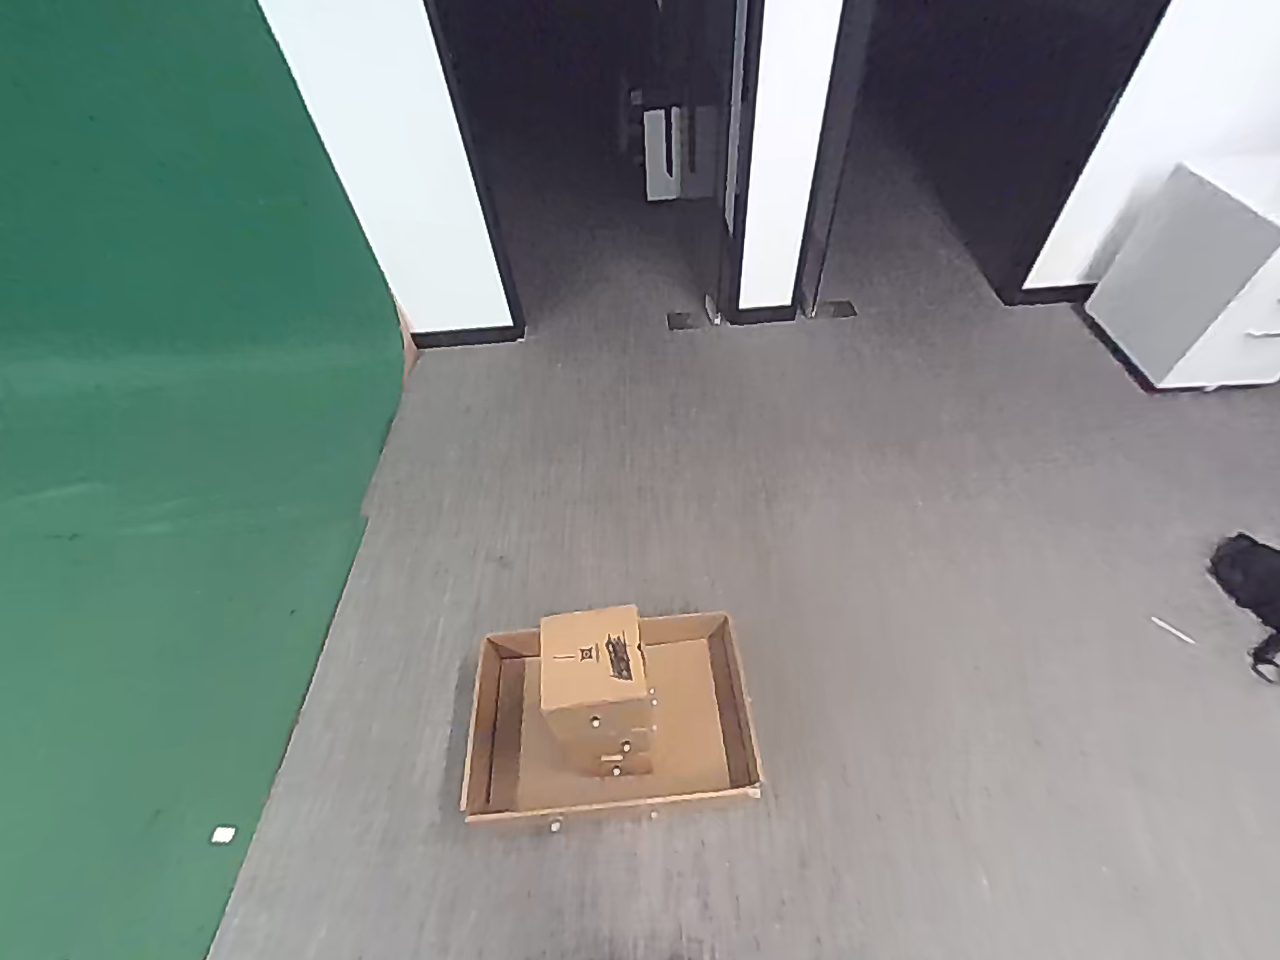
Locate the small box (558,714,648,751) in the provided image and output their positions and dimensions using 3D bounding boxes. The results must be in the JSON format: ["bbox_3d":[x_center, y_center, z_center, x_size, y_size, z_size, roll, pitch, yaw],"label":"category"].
[{"bbox_3d":[-0.072,0.448,1.114,0.168,0.176,0.179,-4,49,1],"label":"small box"}]

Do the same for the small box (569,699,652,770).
[{"bbox_3d":[-0.062,0.553,1.237,0.168,0.176,0.179,-4,50,2],"label":"small box"}]

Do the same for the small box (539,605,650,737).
[{"bbox_3d":[-0.080,0.349,0.984,0.179,0.176,0.168,-9,51,-4],"label":"small box"}]
